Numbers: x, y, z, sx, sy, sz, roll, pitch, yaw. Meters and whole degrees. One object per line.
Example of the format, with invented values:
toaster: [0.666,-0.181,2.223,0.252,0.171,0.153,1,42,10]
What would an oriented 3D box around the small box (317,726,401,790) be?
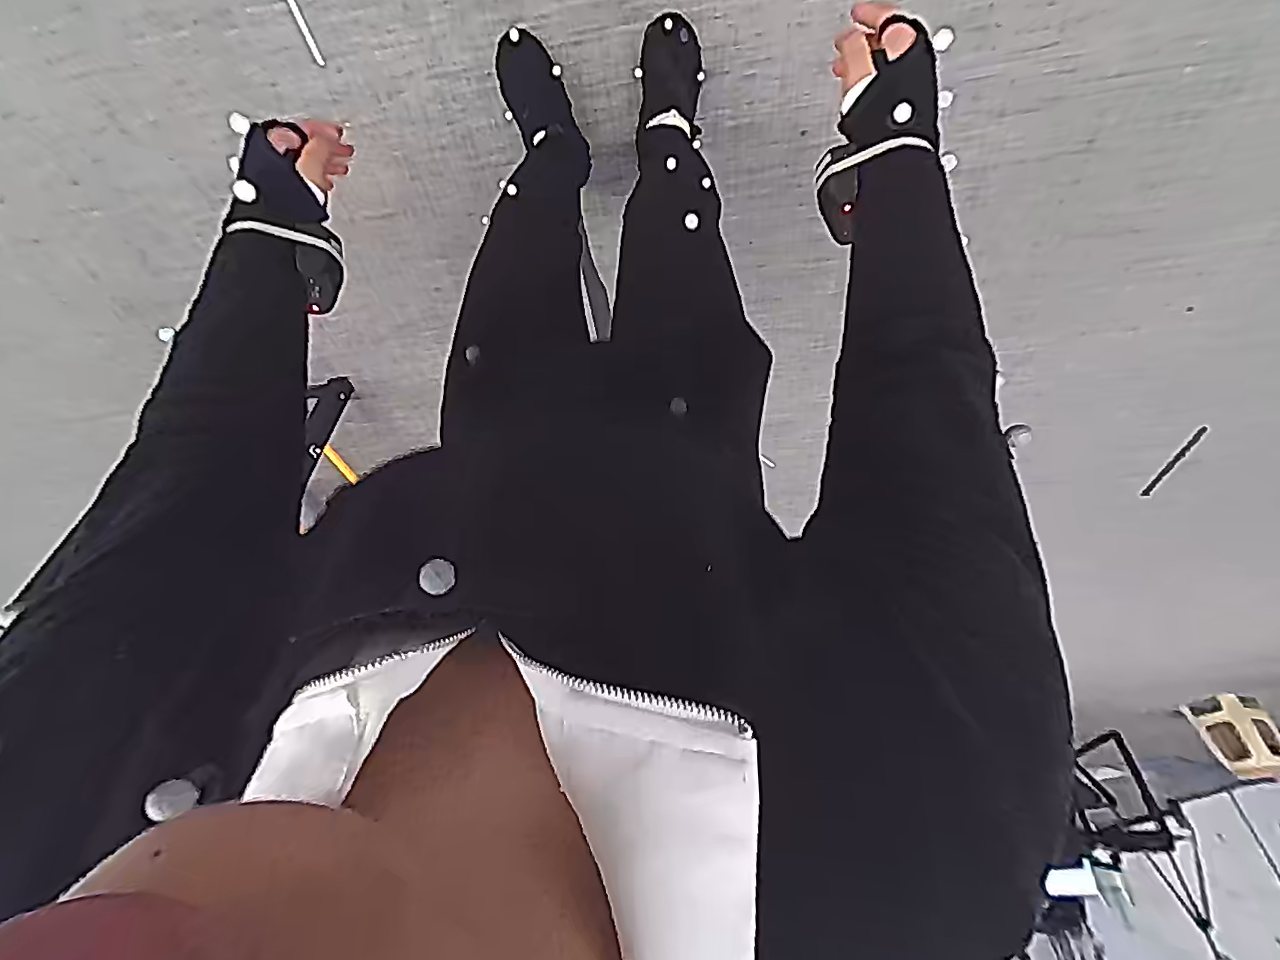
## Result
small box: [-0.945,0.945,1.838,0.168,0.176,0.179,-5,140,6]

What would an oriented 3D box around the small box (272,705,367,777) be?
small box: [-0.969,0.799,1.658,0.179,0.176,0.168,-5,140,6]
